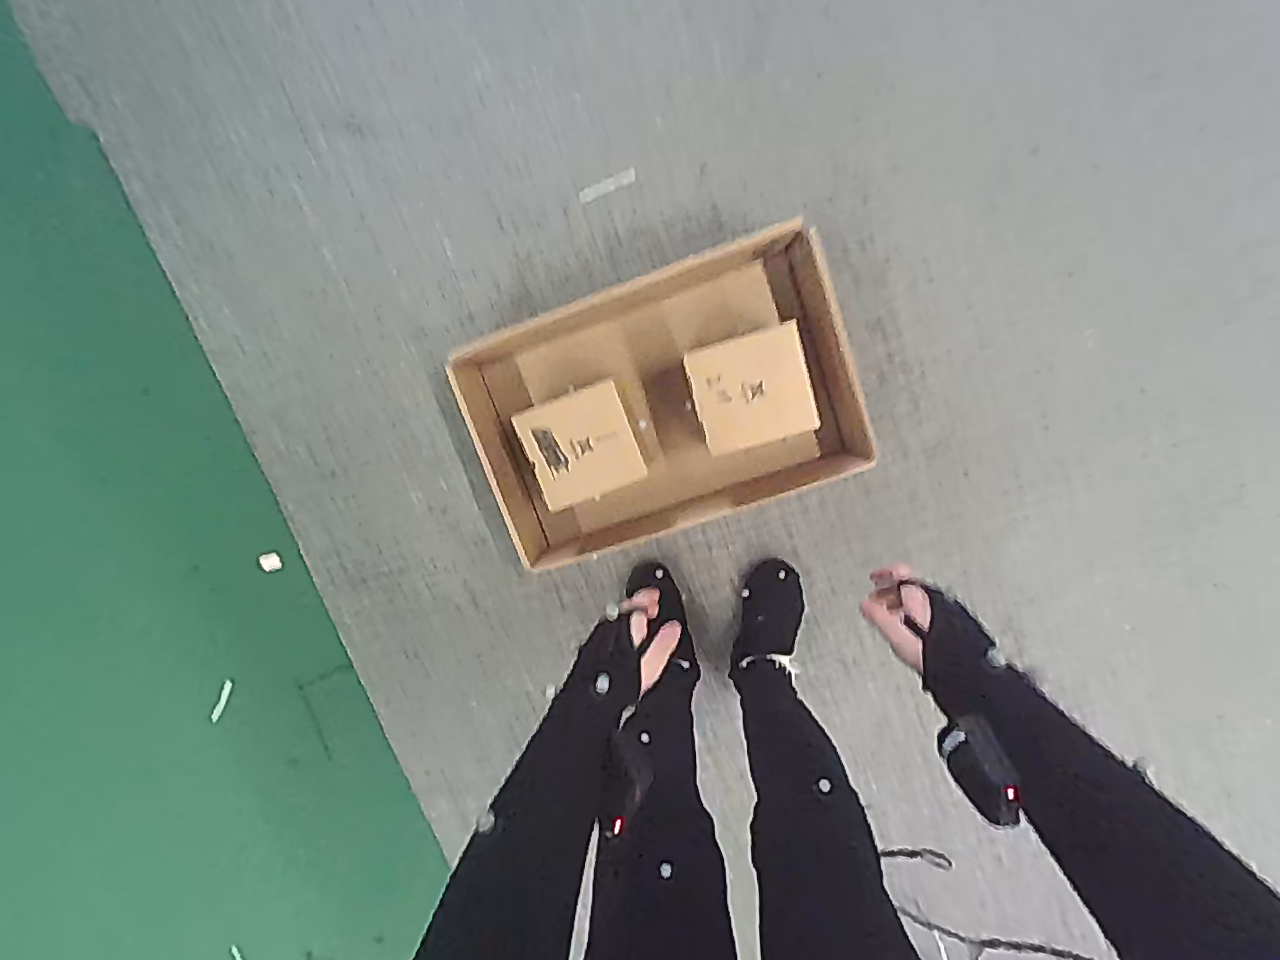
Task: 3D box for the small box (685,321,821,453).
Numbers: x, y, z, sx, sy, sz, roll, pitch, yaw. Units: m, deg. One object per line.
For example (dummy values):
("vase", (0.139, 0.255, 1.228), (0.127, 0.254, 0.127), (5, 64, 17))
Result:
("small box", (0.177, -0.154, 0.895), (0.179, 0.176, 0.168), (-15, 99, 8))
